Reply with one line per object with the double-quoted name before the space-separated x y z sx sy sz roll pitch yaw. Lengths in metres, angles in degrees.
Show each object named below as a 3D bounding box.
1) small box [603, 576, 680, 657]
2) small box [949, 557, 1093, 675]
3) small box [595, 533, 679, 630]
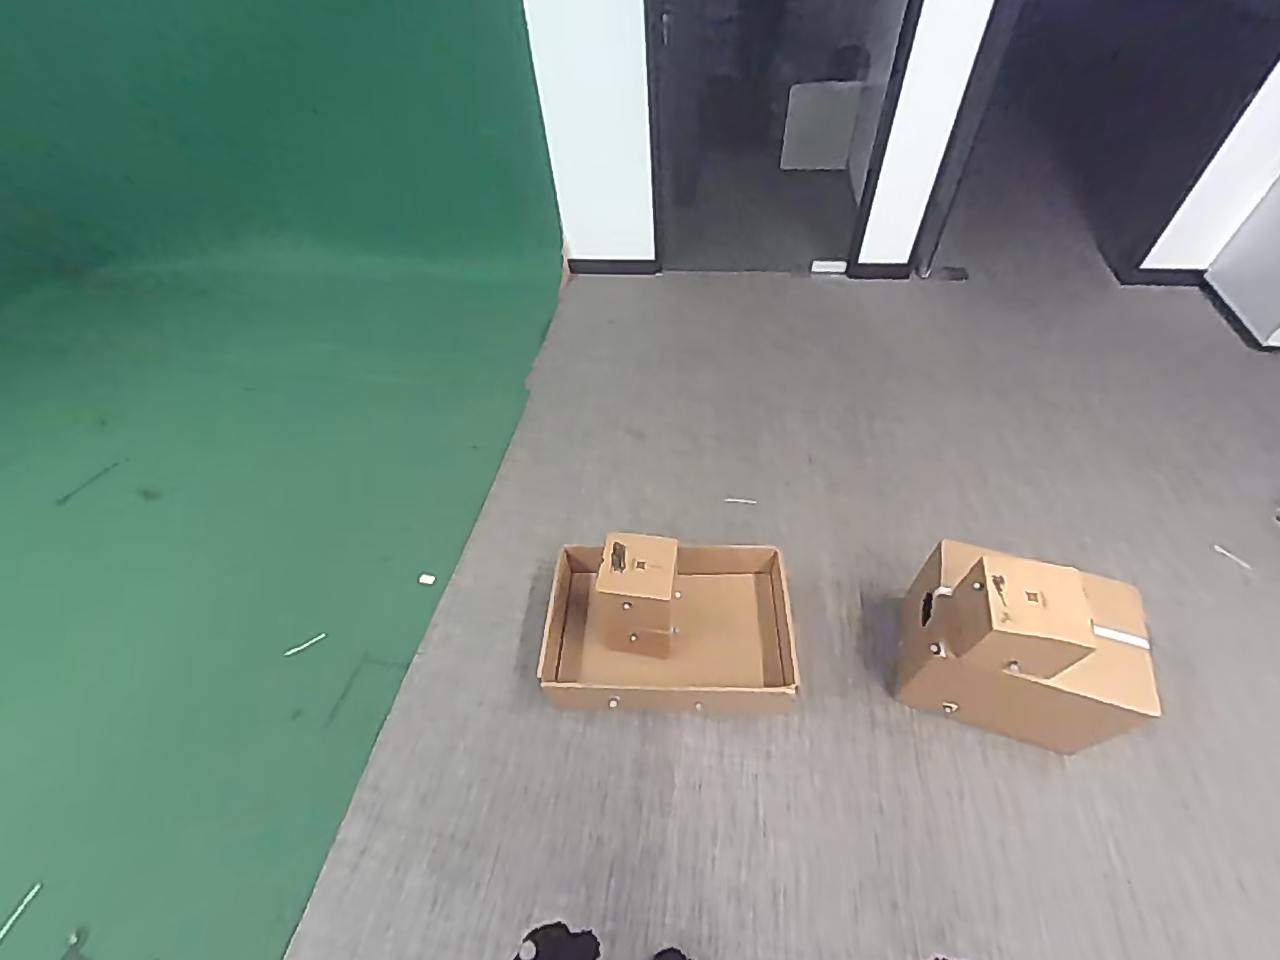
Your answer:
"small box" 0.008 0.357 1.448 0.179 0.176 0.168 7 51 7
"small box" 0.762 0.282 1.102 0.179 0.176 0.168 9 53 11
"small box" -0.001 0.250 1.323 0.179 0.176 0.168 6 51 7
